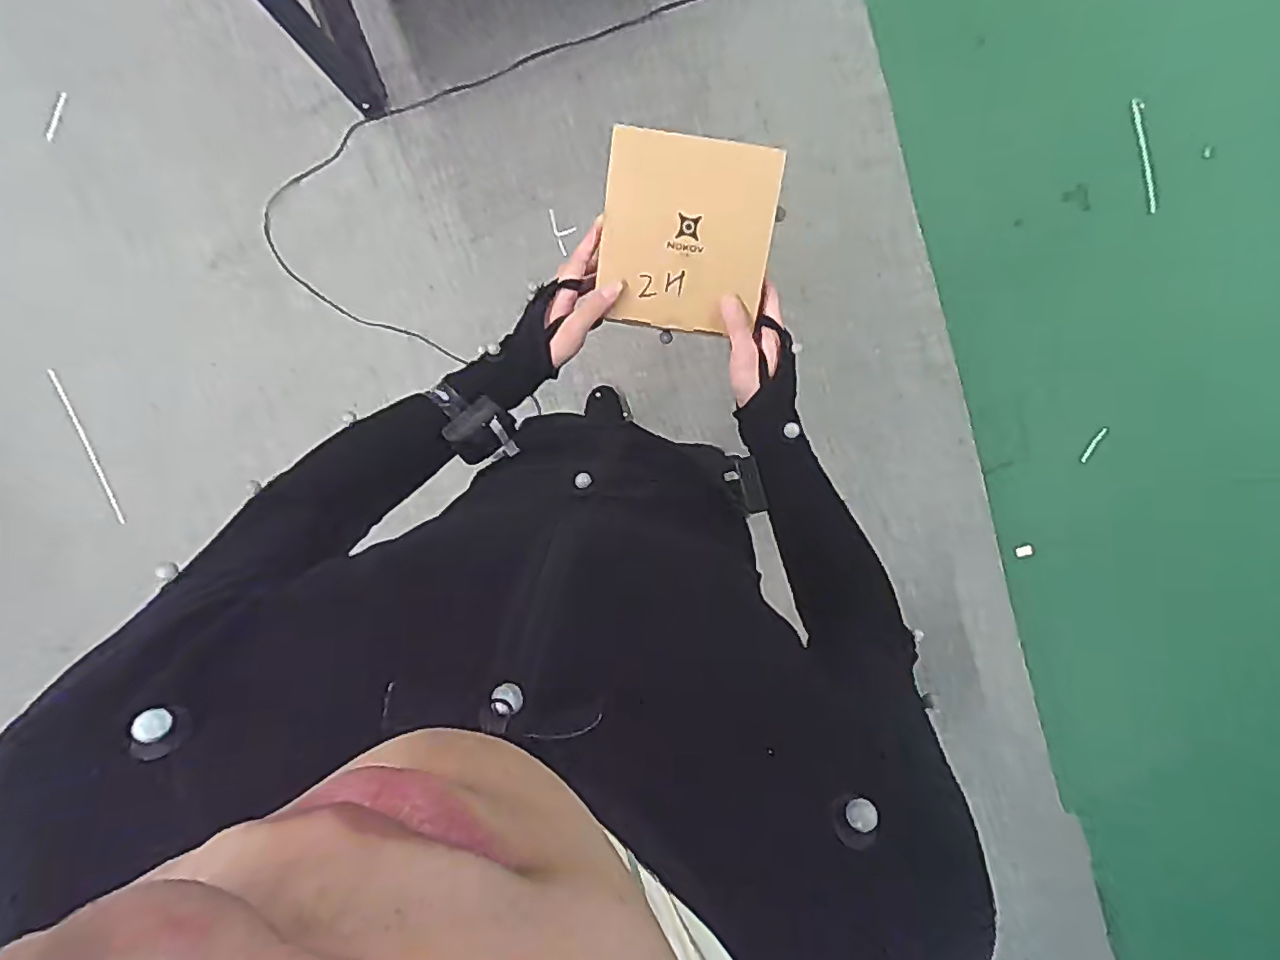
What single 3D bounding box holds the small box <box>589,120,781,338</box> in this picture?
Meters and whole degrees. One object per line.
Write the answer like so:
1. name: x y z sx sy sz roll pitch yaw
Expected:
1. small box: 0.041 -0.258 0.599 0.168 0.176 0.179 8 105 -1
